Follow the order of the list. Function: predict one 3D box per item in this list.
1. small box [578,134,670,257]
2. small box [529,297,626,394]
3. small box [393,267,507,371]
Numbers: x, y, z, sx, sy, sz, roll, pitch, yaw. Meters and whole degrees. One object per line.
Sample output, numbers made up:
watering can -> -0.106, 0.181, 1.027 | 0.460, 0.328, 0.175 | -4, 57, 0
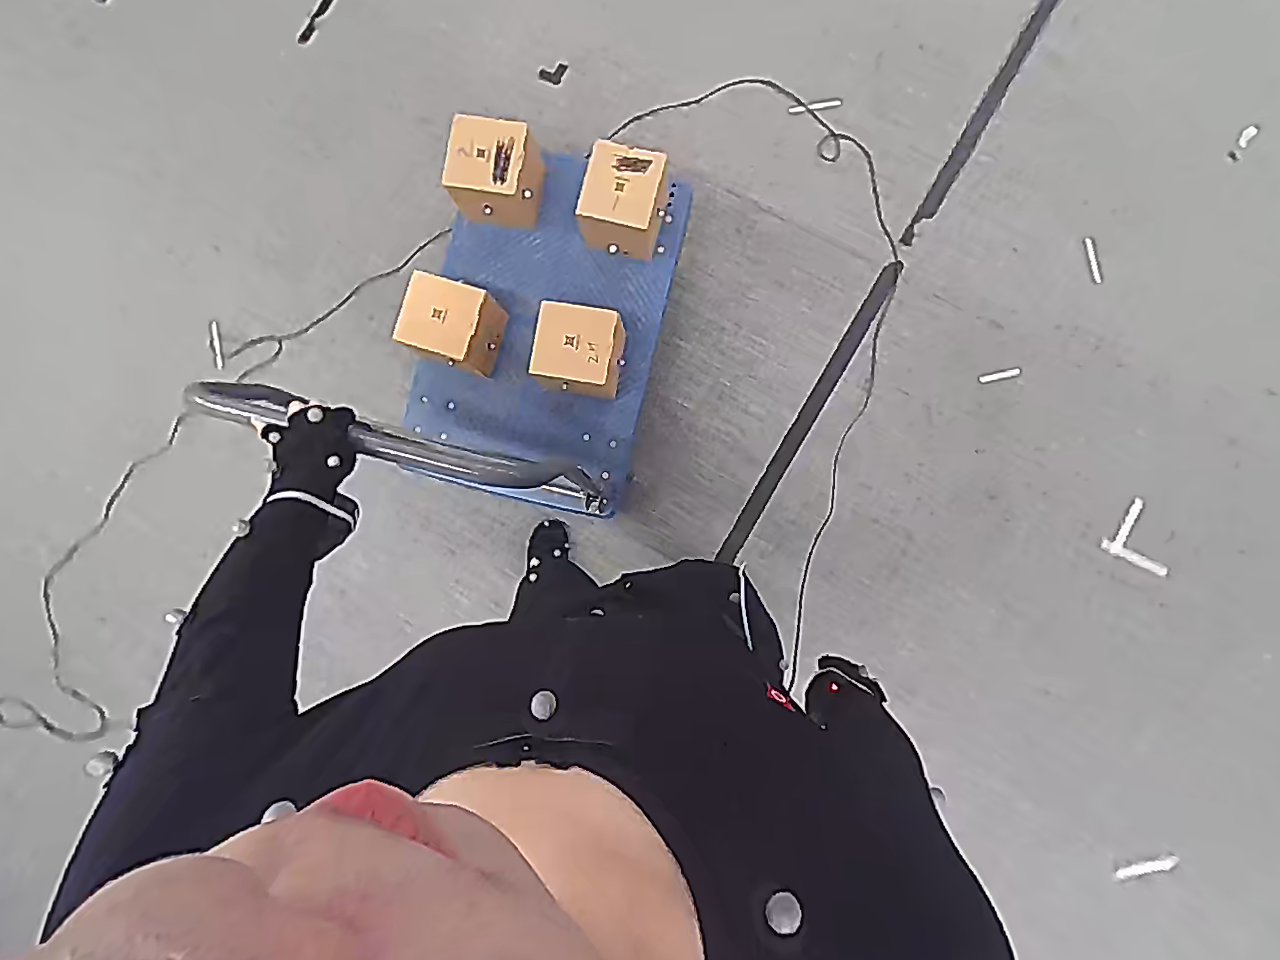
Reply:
small box -> -0.033, -0.652, 1.258 | 0.168, 0.176, 0.179 | 16, 90, 4
small box -> -0.138, -0.304, 1.254 | 0.179, 0.176, 0.168 | 10, 89, 4
small box -> -0.440, -0.371, 1.277 | 0.179, 0.176, 0.168 | 17, 89, 2
